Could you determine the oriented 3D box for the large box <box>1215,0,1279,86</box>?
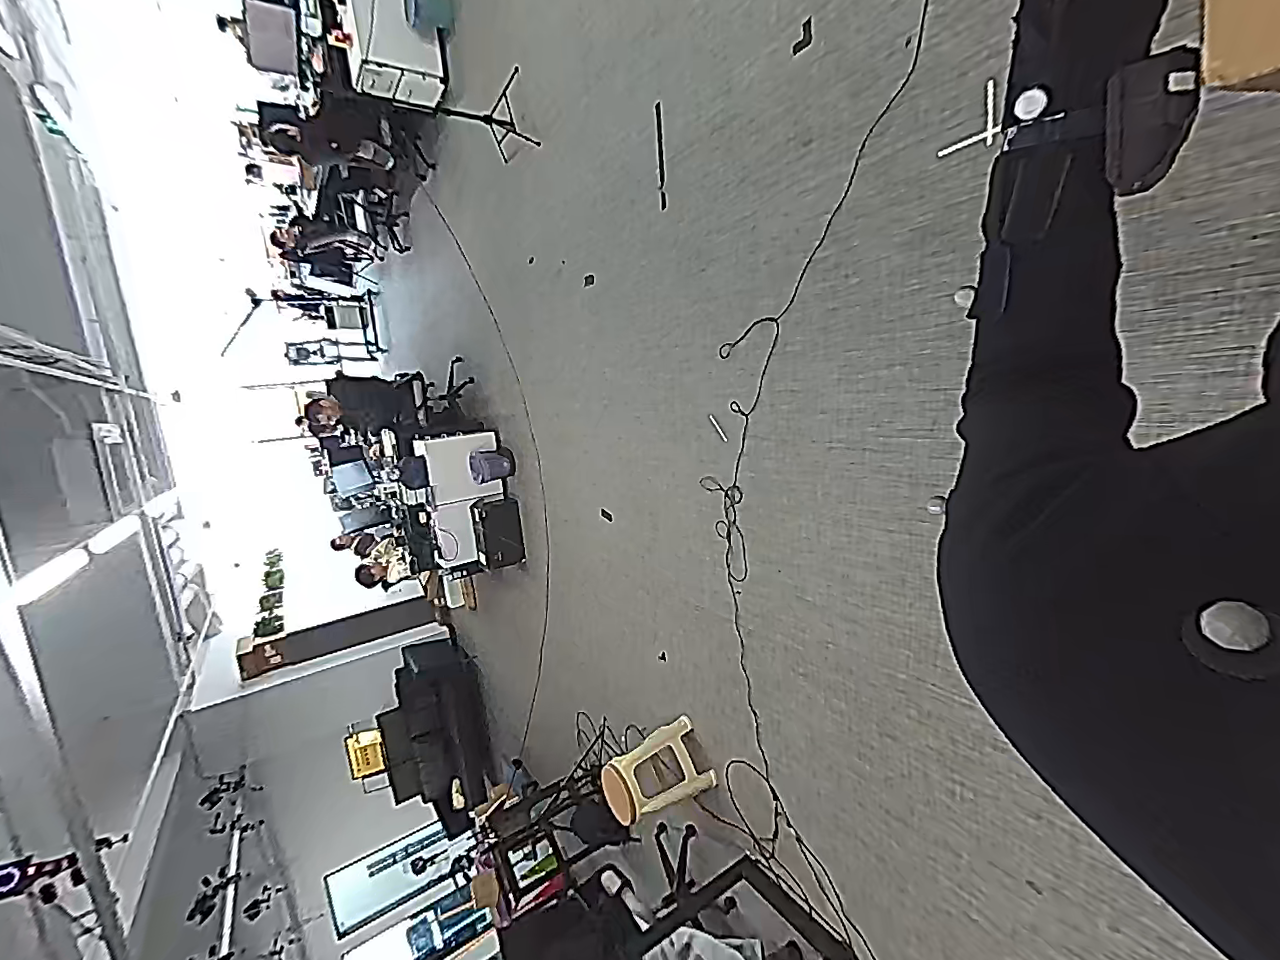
[{"bbox_3d":[0.488,-0.385,0.157,0.408,0.320,0.320,8,118,55],"label":"large box"}]
